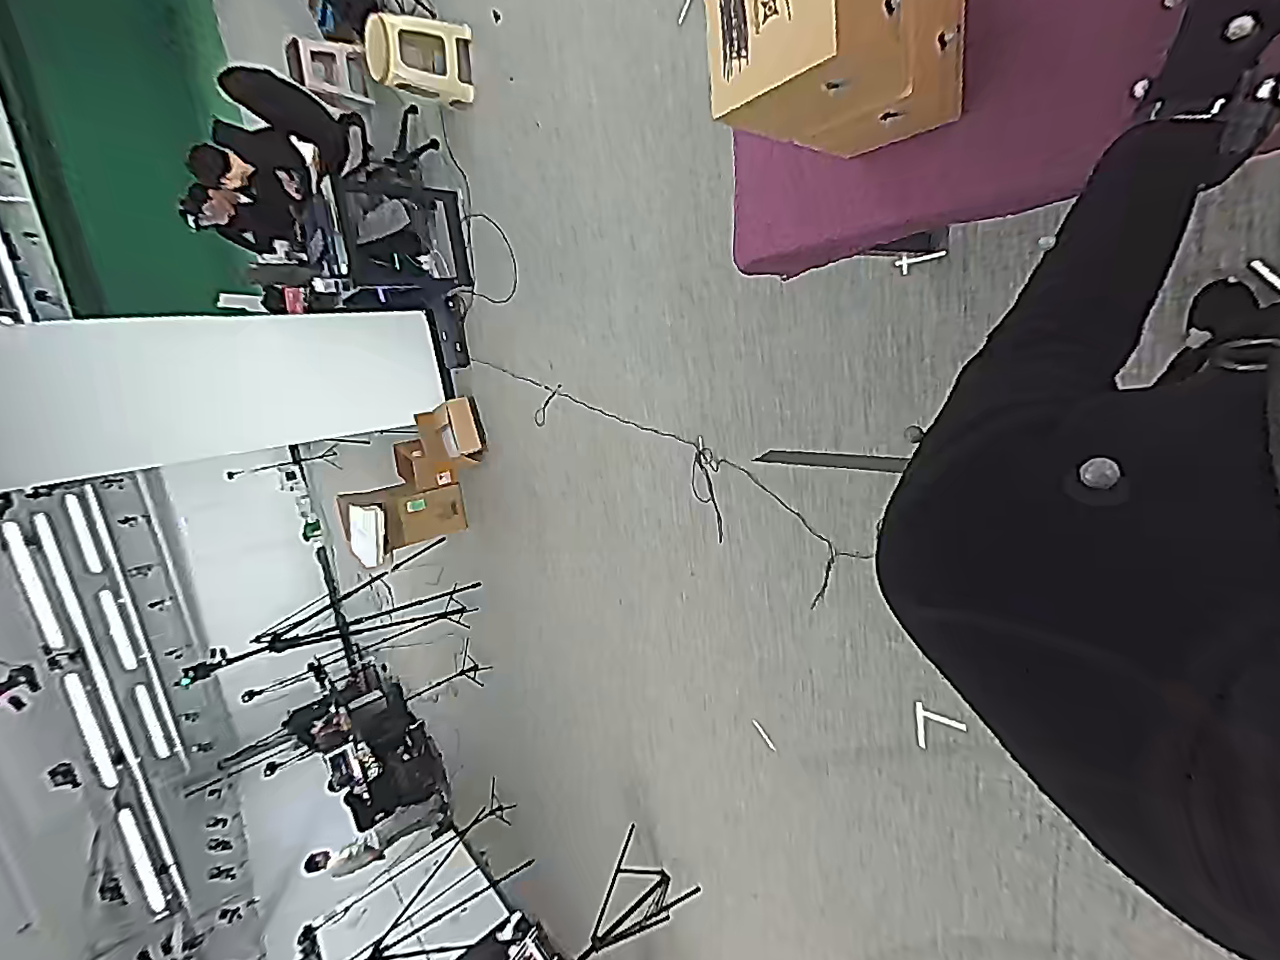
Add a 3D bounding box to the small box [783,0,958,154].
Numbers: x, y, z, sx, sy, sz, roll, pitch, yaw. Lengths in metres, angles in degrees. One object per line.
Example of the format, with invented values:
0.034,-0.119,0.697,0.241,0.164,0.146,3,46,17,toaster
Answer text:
0.324,-0.582,0.759,0.179,0.176,0.168,10,111,48,small box
